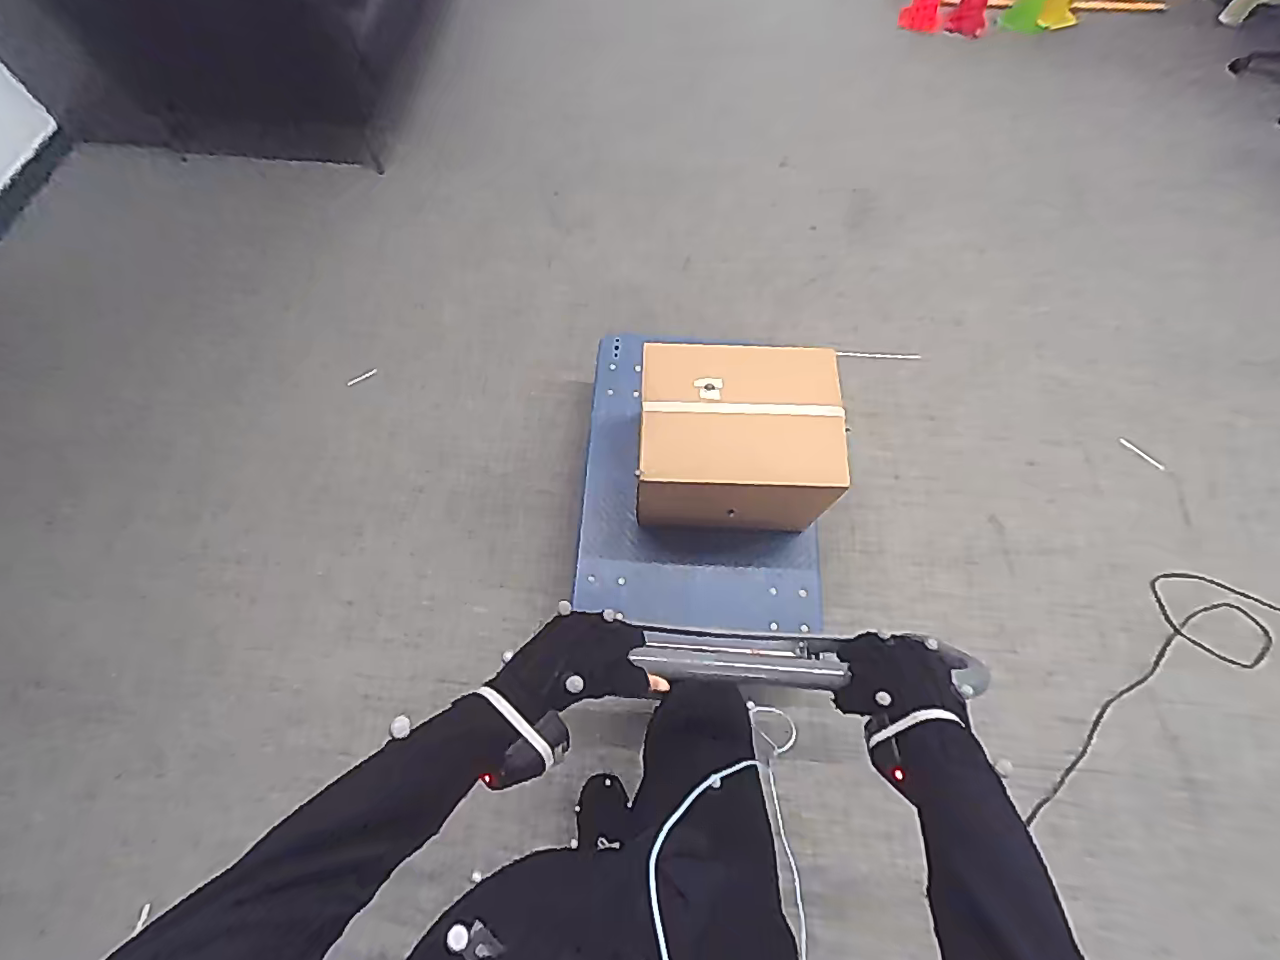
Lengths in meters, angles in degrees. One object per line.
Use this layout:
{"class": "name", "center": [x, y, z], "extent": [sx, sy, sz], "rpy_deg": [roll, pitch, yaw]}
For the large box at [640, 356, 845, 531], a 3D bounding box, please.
{"class": "large box", "center": [0.204, -0.067, 1.237], "extent": [0.408, 0.320, 0.320], "rpy_deg": [0, 68, 1]}
